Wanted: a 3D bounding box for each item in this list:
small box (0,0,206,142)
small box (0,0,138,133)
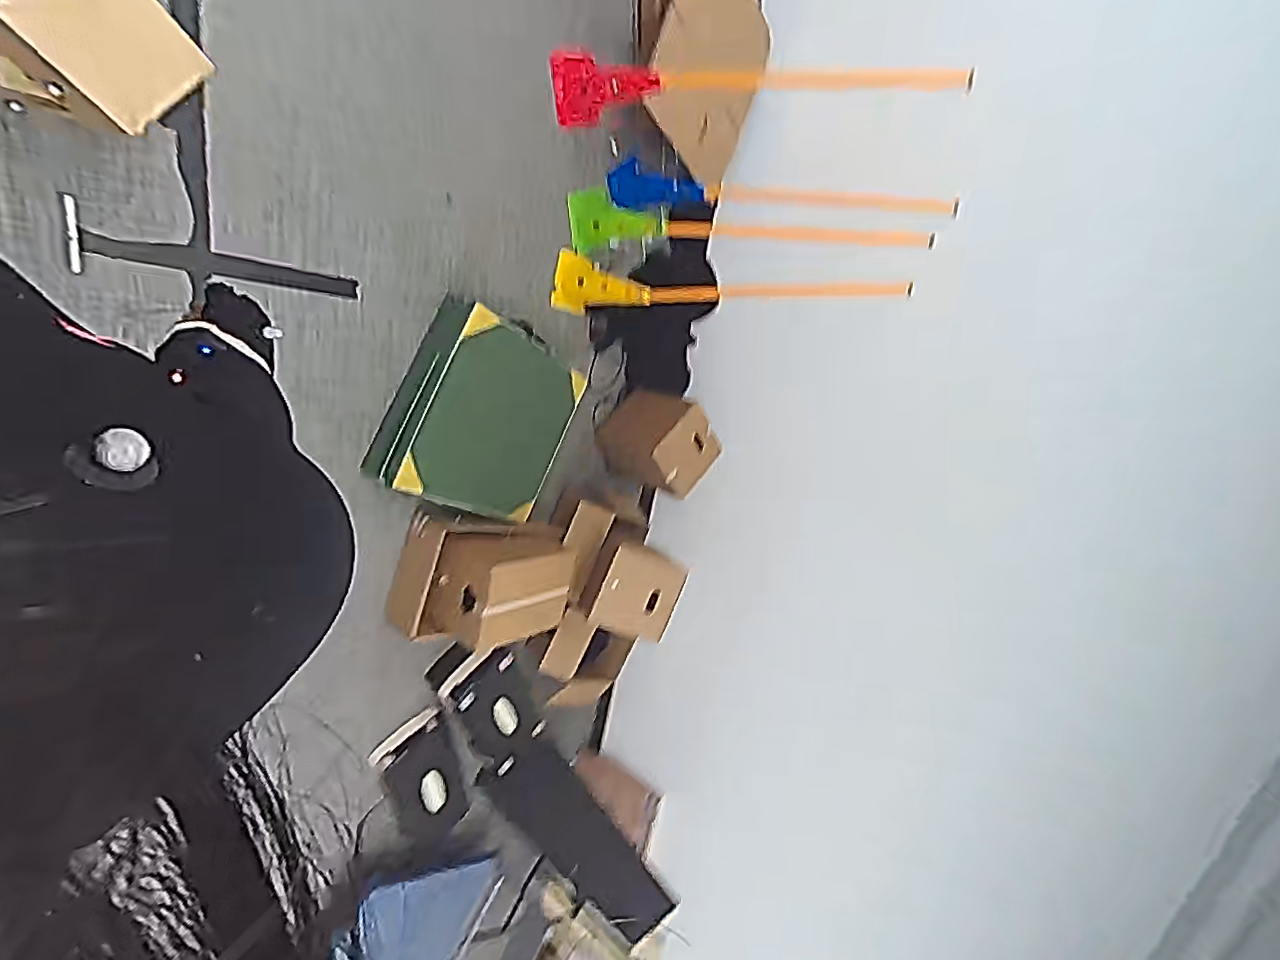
[{"bbox_3d":[-0.813,-0.644,0.808,0.179,0.176,0.168,-59,148,-16],"label":"small box"},{"bbox_3d":[-0.953,-0.695,0.886,0.168,0.176,0.179,-8,114,-55],"label":"small box"}]
